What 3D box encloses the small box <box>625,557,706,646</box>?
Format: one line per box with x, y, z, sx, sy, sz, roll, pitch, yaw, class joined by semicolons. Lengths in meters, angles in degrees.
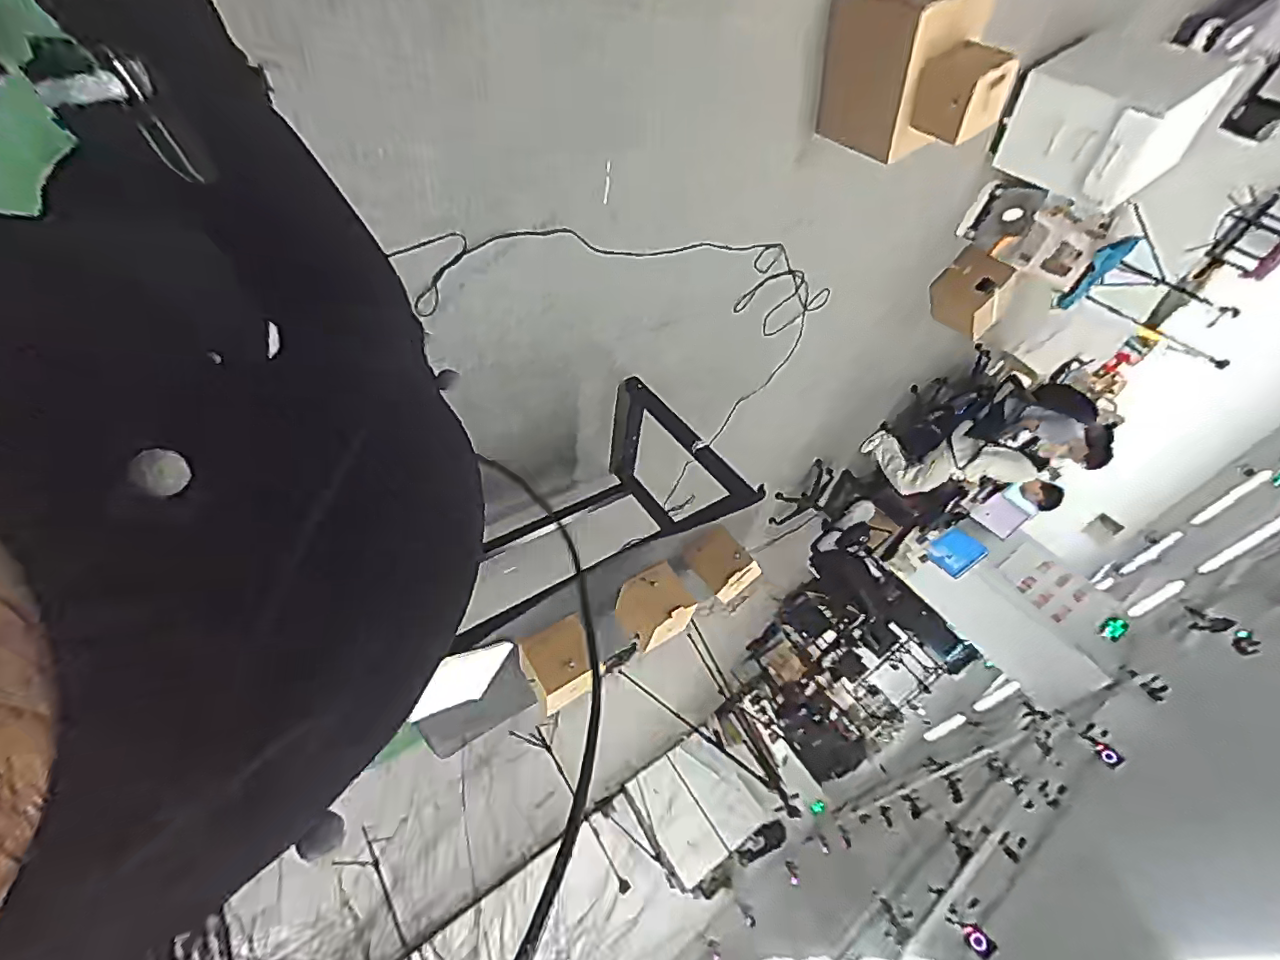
0.070;0.369;1.660;0.168;0.176;0.179;-23;146;-30;small box

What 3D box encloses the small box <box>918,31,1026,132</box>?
0.926;-1.131;1.527;0.168;0.176;0.179;-33;149;-11;small box

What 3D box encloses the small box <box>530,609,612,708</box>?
-0.200;0.498;1.519;0.179;0.176;0.168;-25;148;-27;small box
